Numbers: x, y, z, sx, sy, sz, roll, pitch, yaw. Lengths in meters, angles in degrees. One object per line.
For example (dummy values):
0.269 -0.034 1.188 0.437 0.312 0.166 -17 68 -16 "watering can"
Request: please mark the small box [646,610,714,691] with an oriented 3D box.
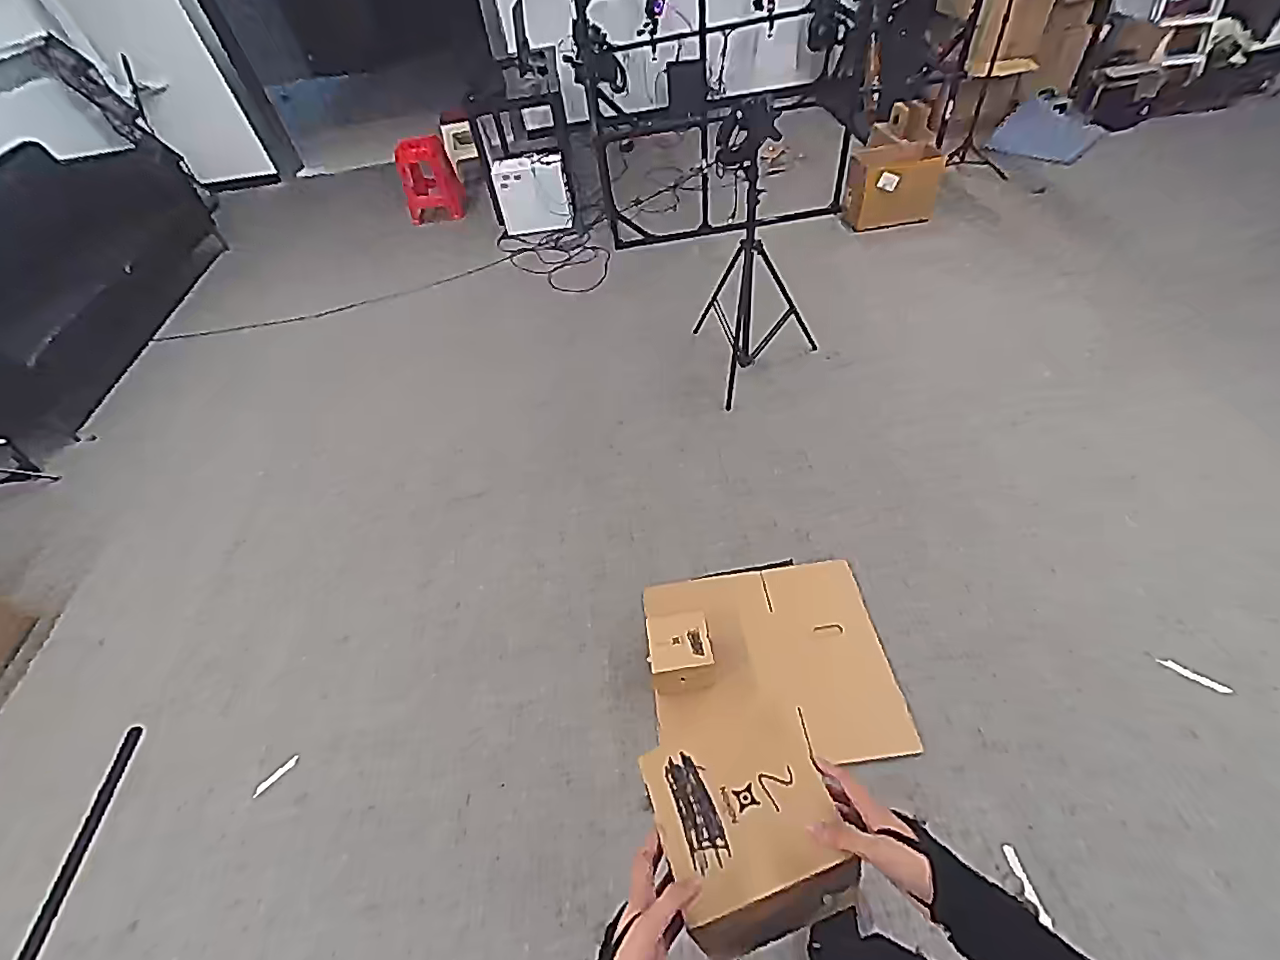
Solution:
0.119 0.504 1.592 0.179 0.176 0.168 -9 49 2 "small box"
